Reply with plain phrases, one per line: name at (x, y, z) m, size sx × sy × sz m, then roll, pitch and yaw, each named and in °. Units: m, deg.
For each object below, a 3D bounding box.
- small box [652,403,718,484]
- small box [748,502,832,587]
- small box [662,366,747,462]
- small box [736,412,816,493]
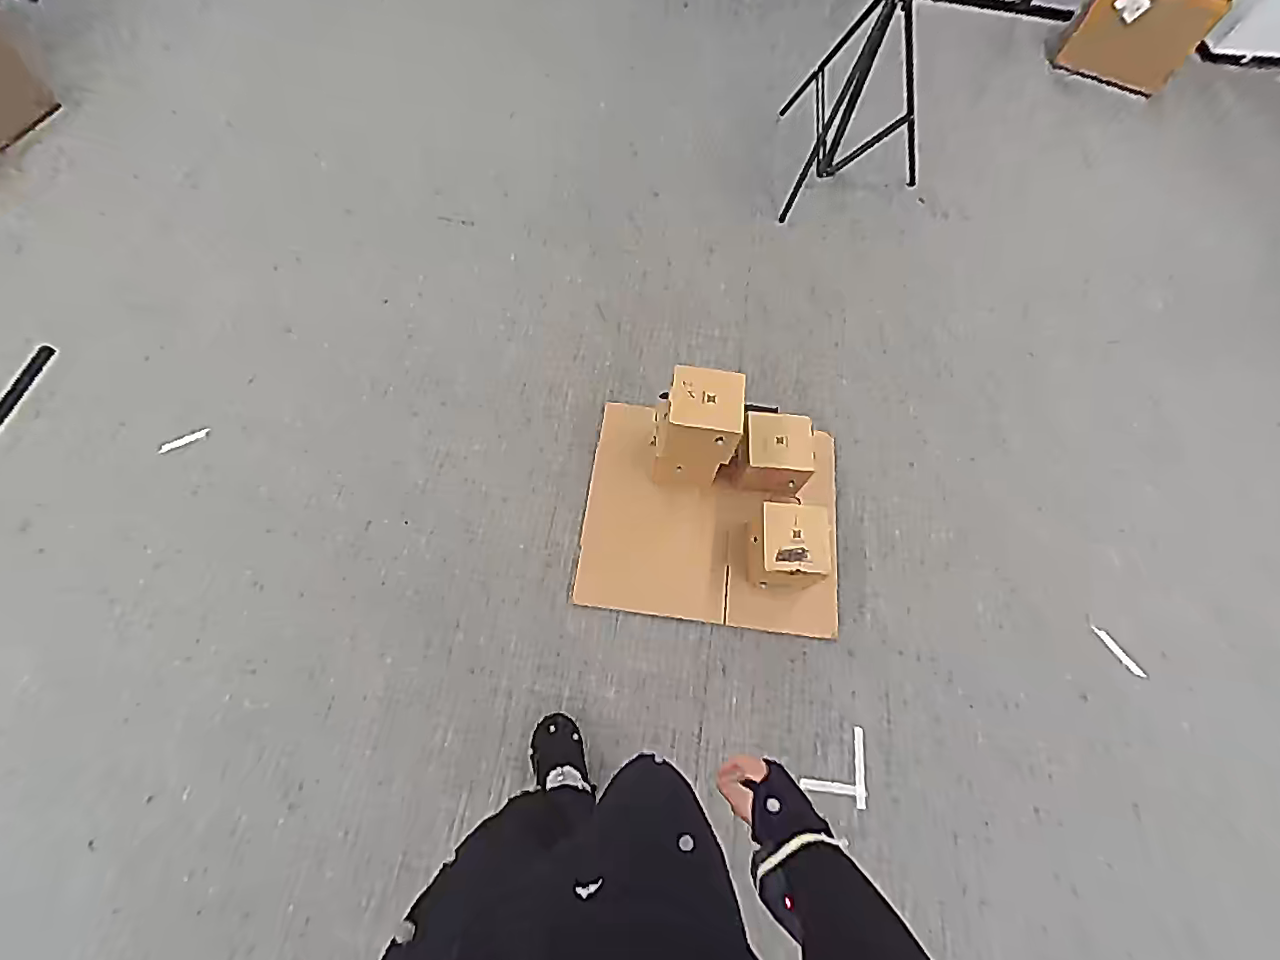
small box at (0.124, -0.095, 1.485) m, size 0.179 × 0.176 × 0.168 m, roll 4°, pitch 67°, yaw -1°
small box at (0.379, 0.170, 1.389) m, size 0.168 × 0.176 × 0.179 m, roll 5°, pitch 67°, yaw -1°
small box at (0.157, -0.156, 1.333) m, size 0.179 × 0.176 × 0.168 m, roll 7°, pitch 66°, yaw 0°
small box at (0.368, -0.070, 1.492) m, size 0.179 × 0.176 × 0.168 m, roll 4°, pitch 66°, yaw -1°
